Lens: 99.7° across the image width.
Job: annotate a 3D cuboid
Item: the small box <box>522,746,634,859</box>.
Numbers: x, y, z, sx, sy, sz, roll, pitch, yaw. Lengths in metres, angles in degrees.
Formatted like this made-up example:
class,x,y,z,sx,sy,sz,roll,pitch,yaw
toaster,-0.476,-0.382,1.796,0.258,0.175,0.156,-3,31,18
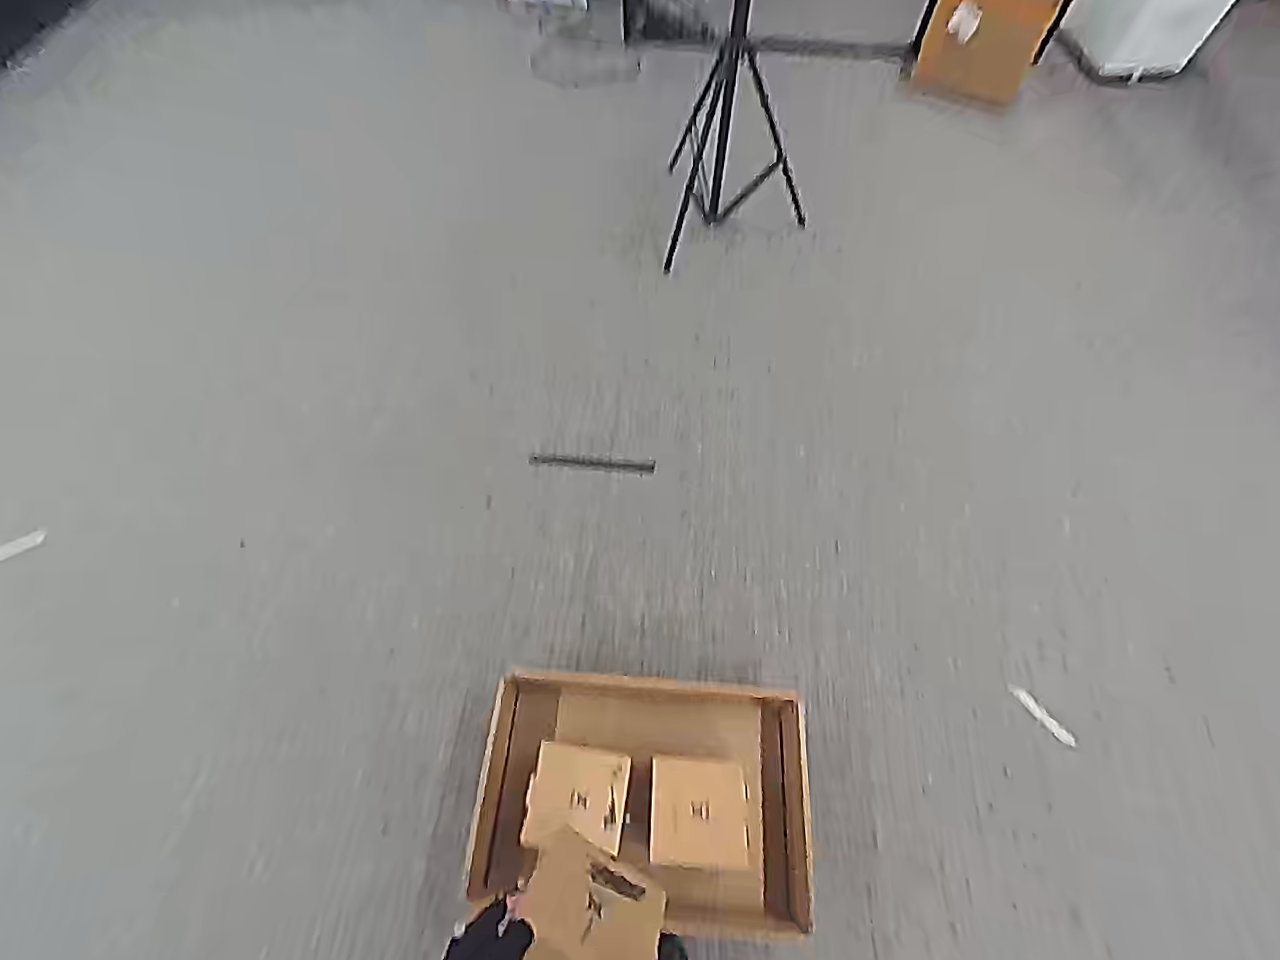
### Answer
class,x,y,z,sx,sy,sz,roll,pitch,yaw
small box,-0.110,0.625,1.049,0.179,0.176,0.168,8,62,4

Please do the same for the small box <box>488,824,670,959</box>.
class,x,y,z,sx,sy,sz,roll,pitch,yaw
small box,-0.083,0.567,0.633,0.168,0.179,0.176,28,93,11
